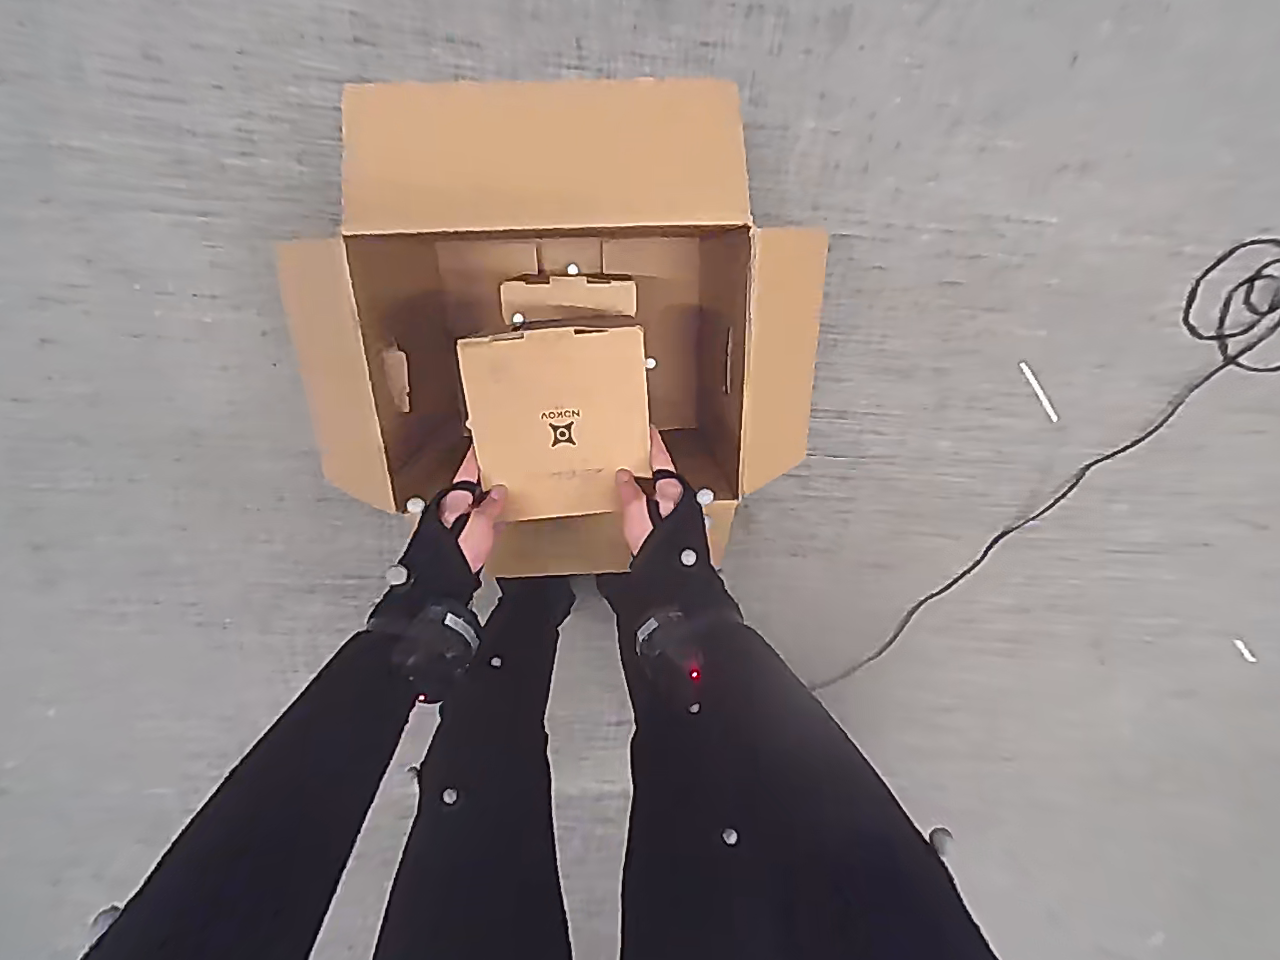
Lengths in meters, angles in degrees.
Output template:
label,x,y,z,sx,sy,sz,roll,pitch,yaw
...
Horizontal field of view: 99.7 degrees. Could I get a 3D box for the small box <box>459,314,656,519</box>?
label,x,y,z,sx,sy,sz,roll,pitch,yaw
small box,-0.077,-0.078,0.572,0.168,0.176,0.179,-6,112,-1
